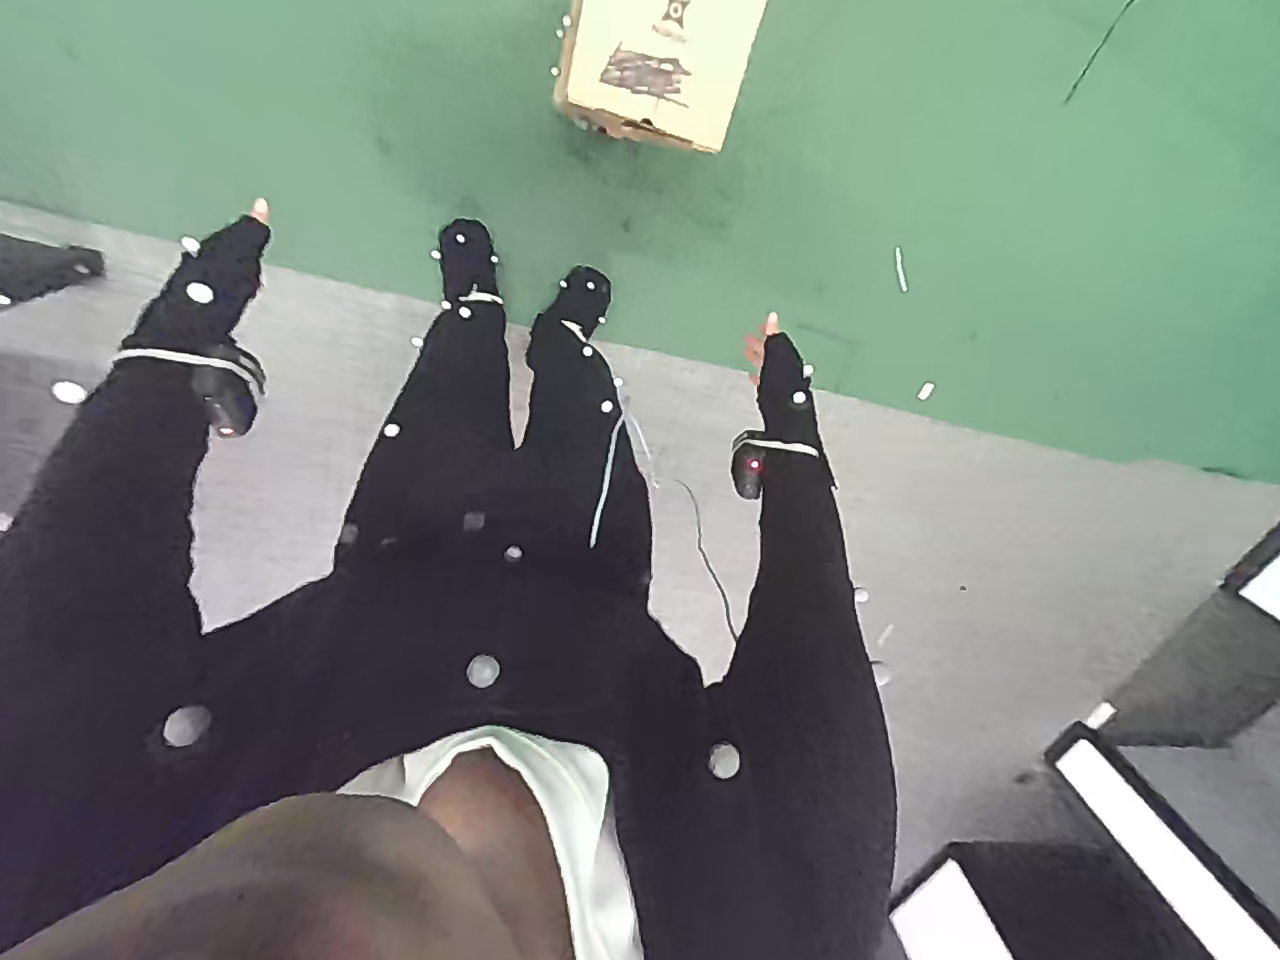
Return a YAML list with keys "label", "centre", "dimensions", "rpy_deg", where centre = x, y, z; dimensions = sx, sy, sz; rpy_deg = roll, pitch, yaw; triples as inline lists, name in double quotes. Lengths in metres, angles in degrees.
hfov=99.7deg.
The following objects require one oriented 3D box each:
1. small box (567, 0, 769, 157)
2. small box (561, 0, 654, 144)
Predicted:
- label: "small box"
  centre: [0.019, -0.469, 0.578]
  dimensions: [0.168, 0.176, 0.179]
  rpy_deg: [9, 119, -16]
- label: "small box"
  centre: [-0.028, -0.651, 0.848]
  dimensions: [0.168, 0.176, 0.179]
  rpy_deg: [9, 121, -16]
